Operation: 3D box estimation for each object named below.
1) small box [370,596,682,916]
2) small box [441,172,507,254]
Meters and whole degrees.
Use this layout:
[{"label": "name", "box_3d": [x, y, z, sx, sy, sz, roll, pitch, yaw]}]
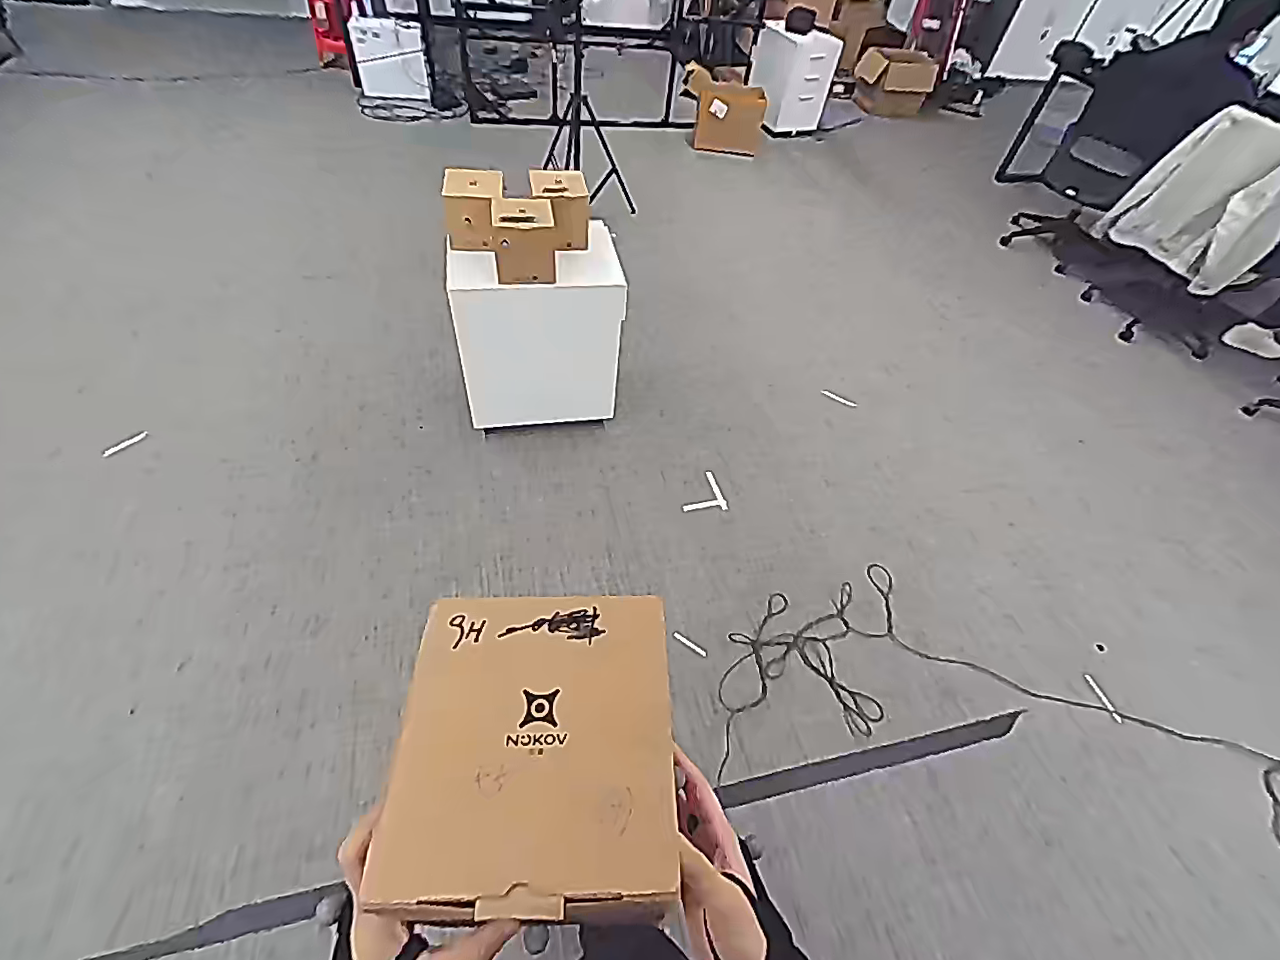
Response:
[{"label": "small box", "box_3d": [-0.061, 0.202, 0.391, 0.168, 0.176, 0.179, 0, 48, -2]}, {"label": "small box", "box_3d": [-0.494, -0.802, 1.630, 0.168, 0.176, 0.179, -3, 52, -10]}]
